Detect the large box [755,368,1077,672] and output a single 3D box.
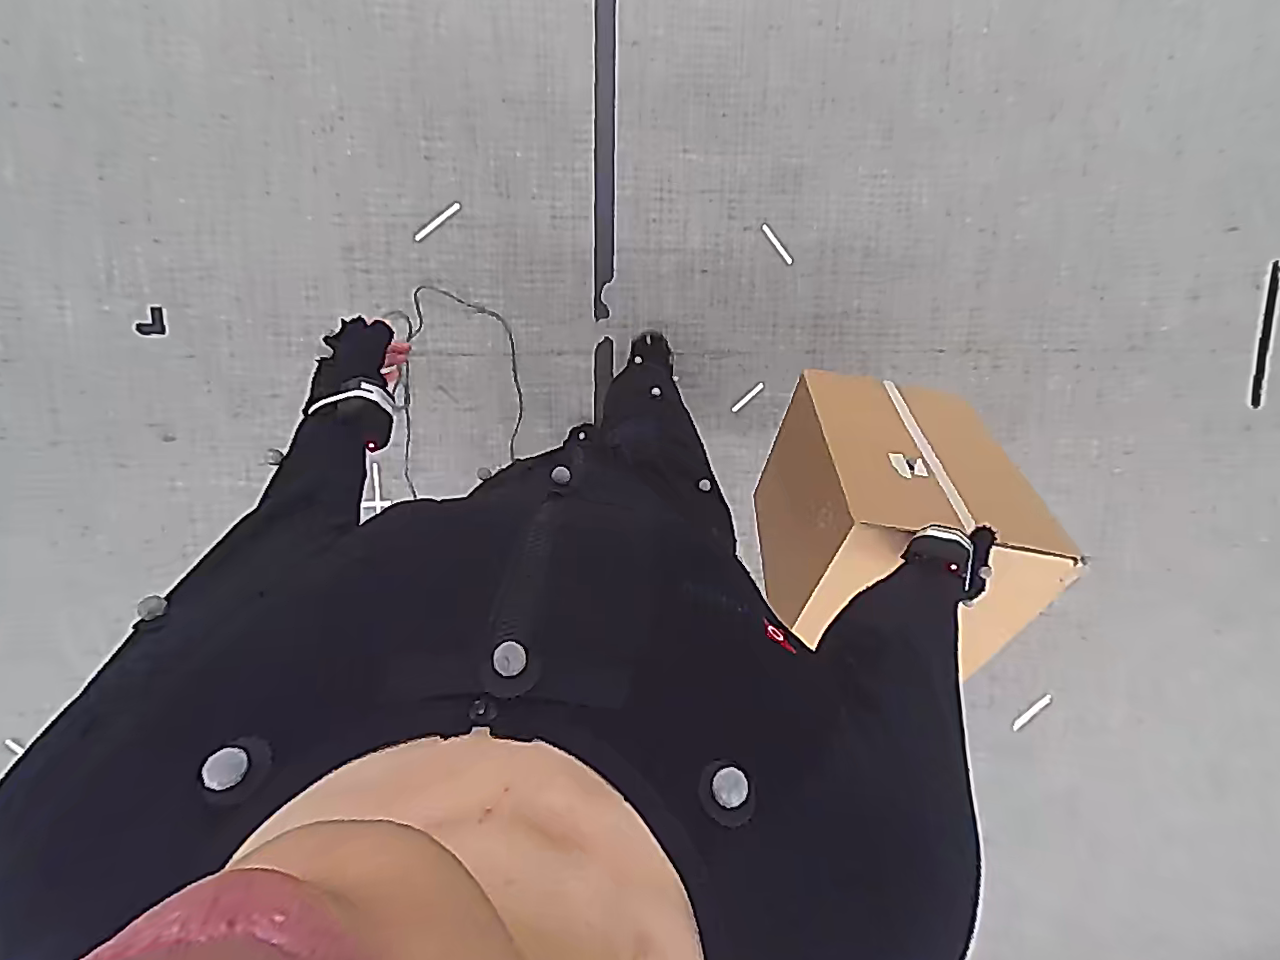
[{"bbox_3d":[0.412,0.060,0.945,0.320,0.408,0.320,9,131,-3],"label":"large box"}]
